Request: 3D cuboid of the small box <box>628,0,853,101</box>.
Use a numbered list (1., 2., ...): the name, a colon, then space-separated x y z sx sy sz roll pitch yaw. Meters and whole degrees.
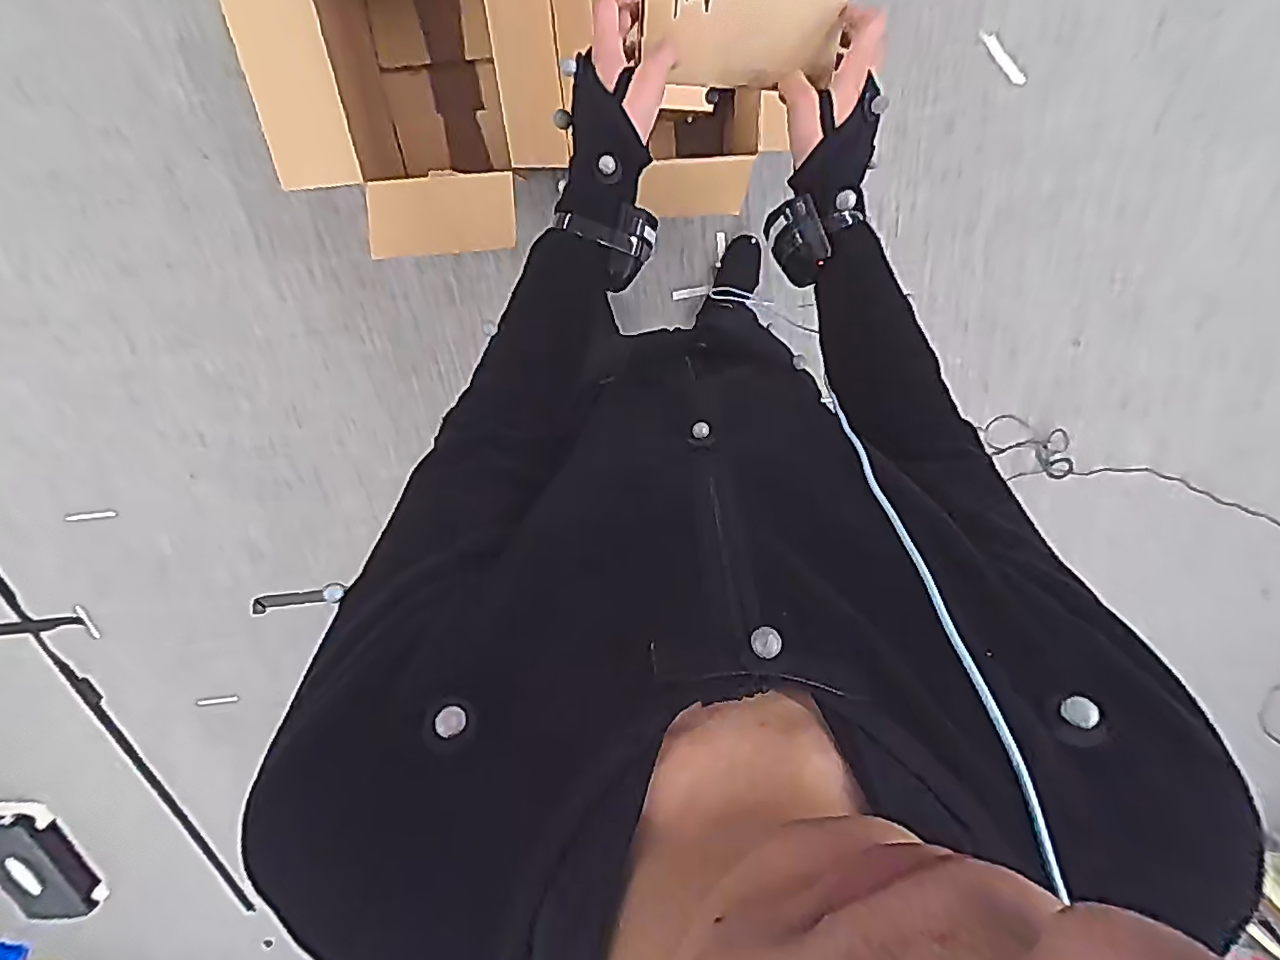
1. small box: 0.083 -0.452 0.490 0.179 0.176 0.168 -1 127 -7
